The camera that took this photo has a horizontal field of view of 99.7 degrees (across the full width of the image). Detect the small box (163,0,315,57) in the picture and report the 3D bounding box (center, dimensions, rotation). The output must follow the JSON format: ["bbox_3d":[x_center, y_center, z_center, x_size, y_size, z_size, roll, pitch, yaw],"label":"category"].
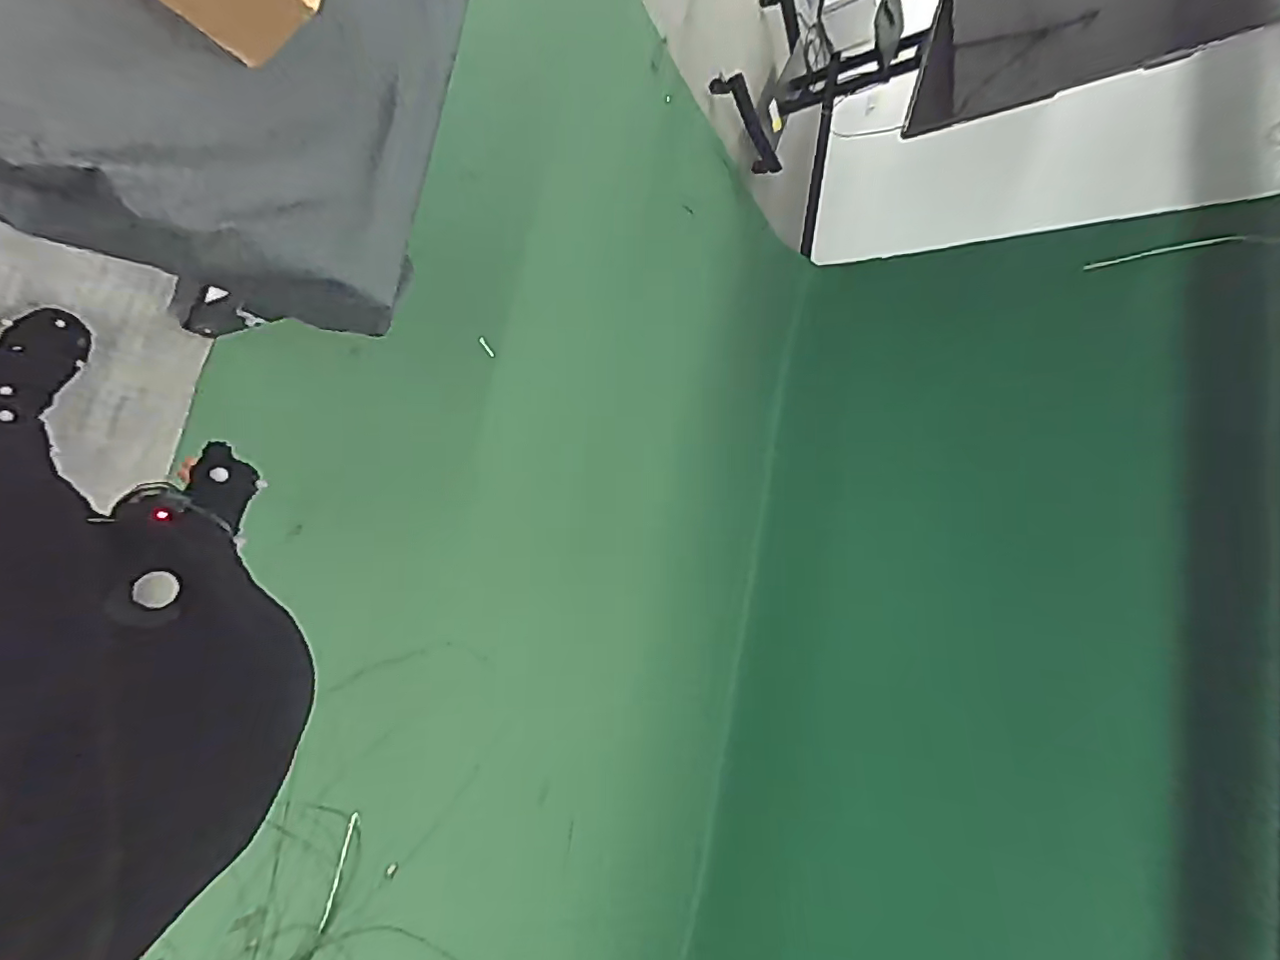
[{"bbox_3d":[-0.432,-0.582,0.539,0.179,0.176,0.168,23,76,-54],"label":"small box"}]
